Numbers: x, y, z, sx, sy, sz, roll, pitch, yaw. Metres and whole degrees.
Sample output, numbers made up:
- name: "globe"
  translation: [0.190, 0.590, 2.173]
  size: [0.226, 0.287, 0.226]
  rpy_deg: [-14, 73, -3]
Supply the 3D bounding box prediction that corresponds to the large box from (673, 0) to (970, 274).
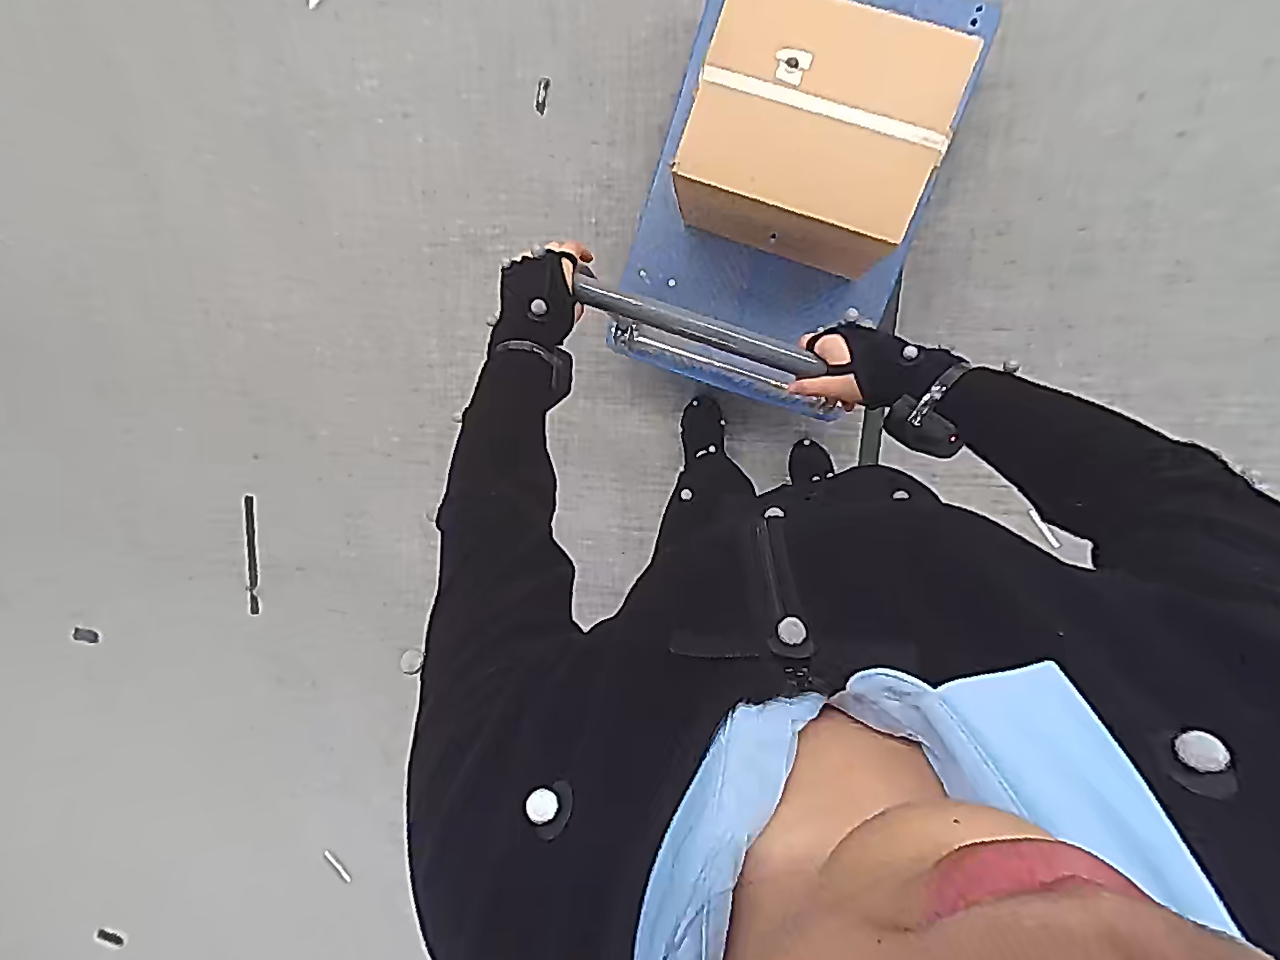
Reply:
- name: "large box"
  translation: [0.314, -0.632, 1.041]
  size: [0.408, 0.320, 0.320]
  rpy_deg: [20, 101, 6]
